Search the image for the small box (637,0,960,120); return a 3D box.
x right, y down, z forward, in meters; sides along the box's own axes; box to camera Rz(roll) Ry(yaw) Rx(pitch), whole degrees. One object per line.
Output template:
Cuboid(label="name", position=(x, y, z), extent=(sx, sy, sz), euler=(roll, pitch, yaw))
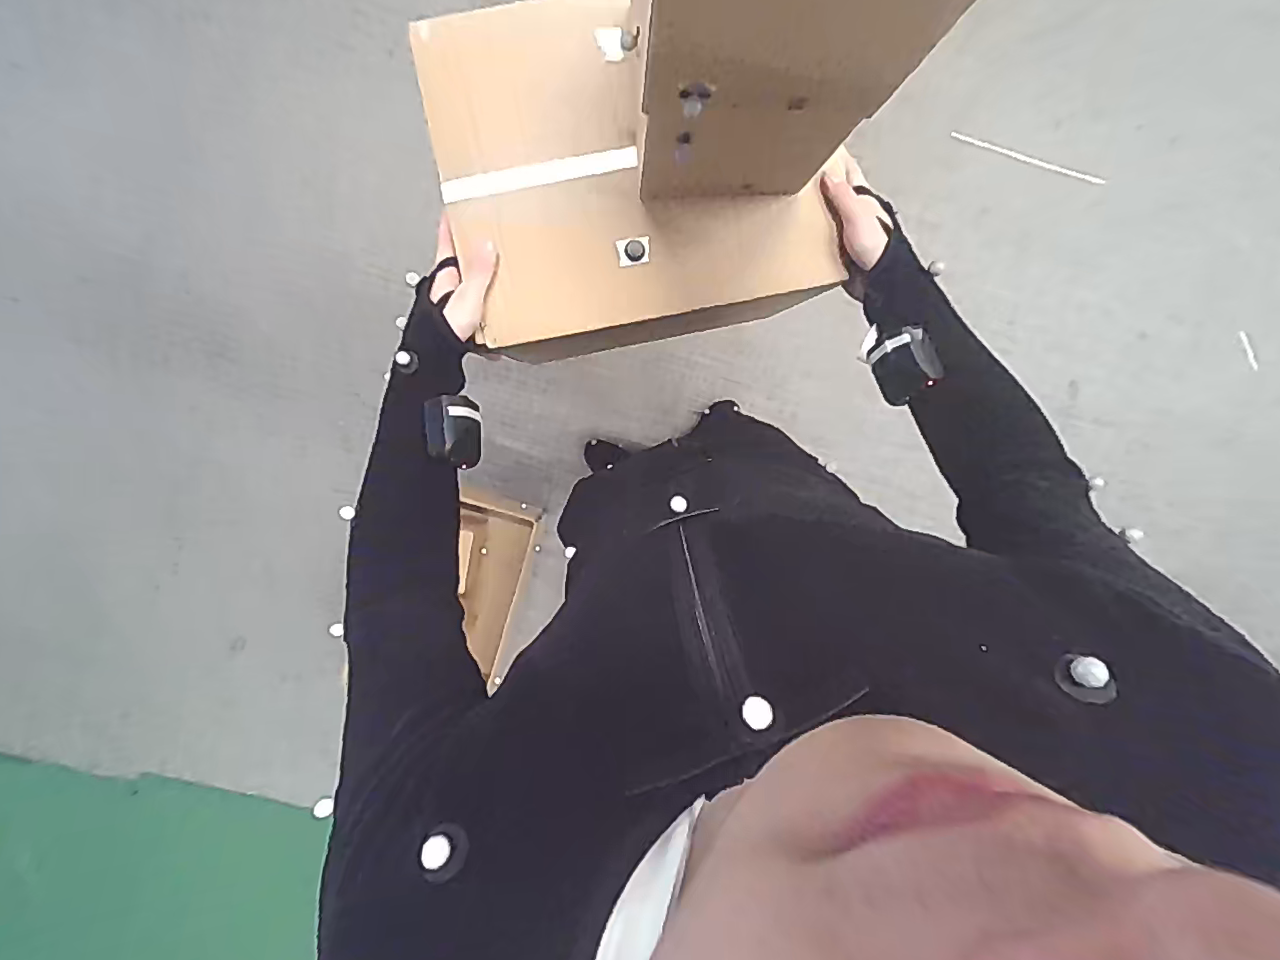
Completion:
Cuboid(label="small box", position=(0.085, -0.320, 0.282), extent=(0.168, 0.176, 0.179), euler=(0, 97, -2))

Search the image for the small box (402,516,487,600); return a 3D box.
Cuboid(label="small box", position=(-0.531, 0.208, 1.494), extent=(0.168, 0.176, 0.179), euler=(12, 97, -4))
